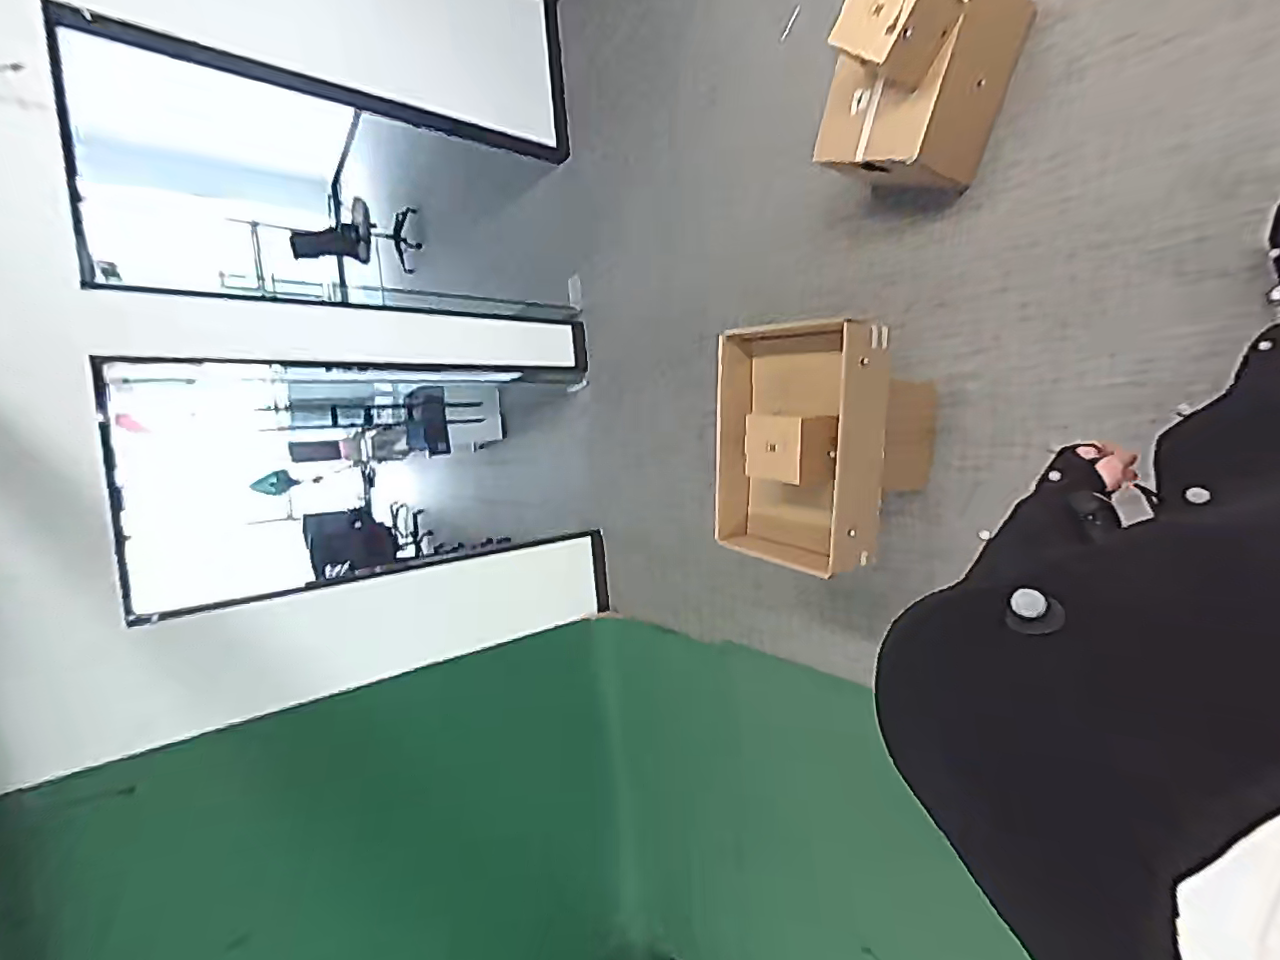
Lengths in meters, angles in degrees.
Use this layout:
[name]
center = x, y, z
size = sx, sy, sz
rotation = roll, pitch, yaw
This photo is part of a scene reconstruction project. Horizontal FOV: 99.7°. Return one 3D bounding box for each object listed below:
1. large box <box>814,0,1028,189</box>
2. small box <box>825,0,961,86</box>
[large box]
center = 0.718, -1.013, 1.407
size = 0.320, 0.320, 0.408
rotation = 35, 123, 45
[small box]
center = 0.561, -1.016, 1.204
size = 0.179, 0.176, 0.168
rotation = 54, 134, 31
